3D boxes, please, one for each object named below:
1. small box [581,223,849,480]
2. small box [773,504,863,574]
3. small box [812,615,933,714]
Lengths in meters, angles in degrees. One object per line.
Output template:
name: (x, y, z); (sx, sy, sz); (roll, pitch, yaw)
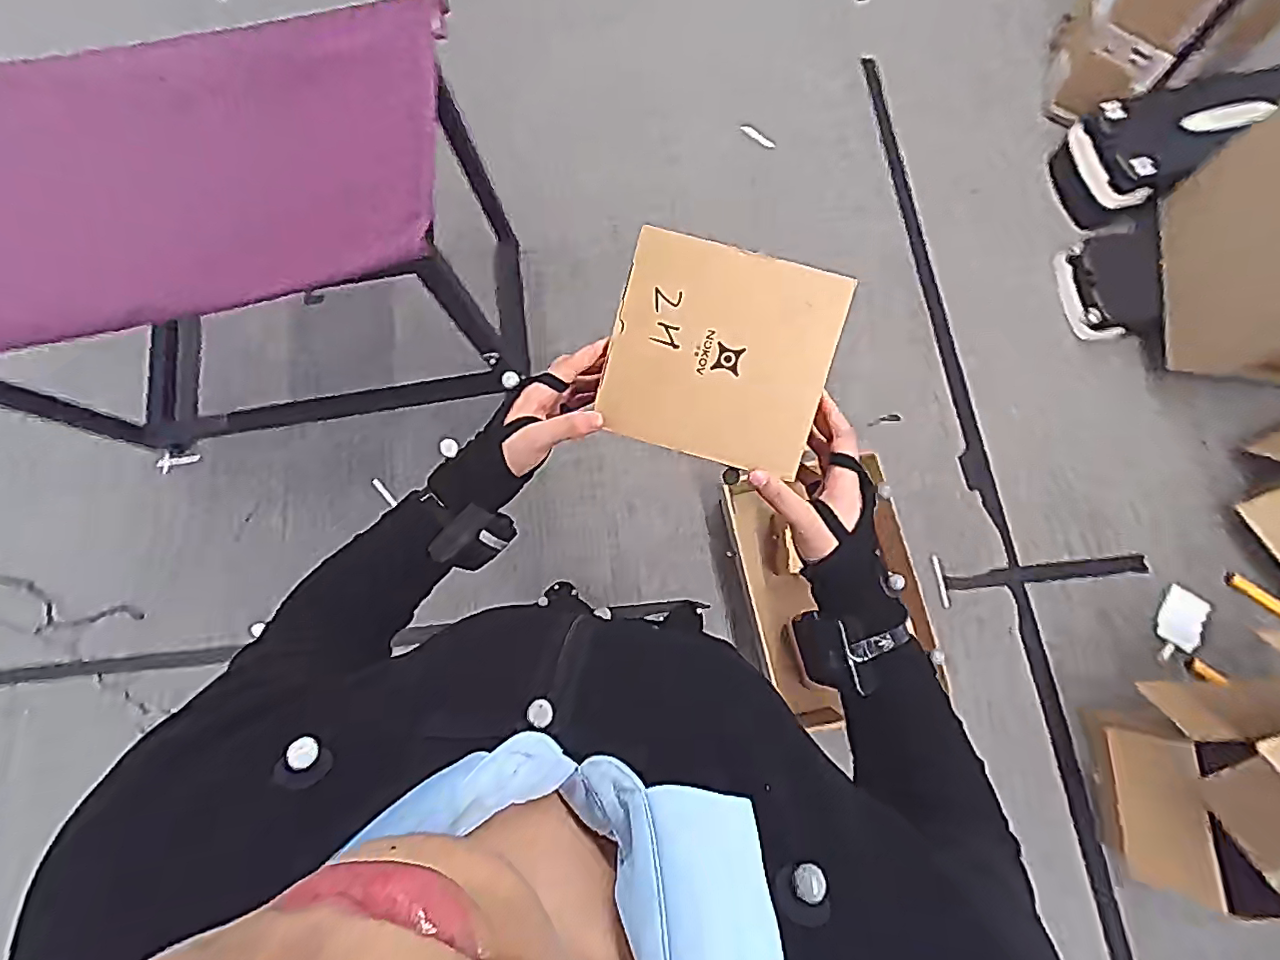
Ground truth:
small box: (0.063, -0.108, 0.504); (0.179, 0.176, 0.168); (16, 96, 4)
small box: (0.446, 0.153, 1.375); (0.179, 0.176, 0.168); (-1, 79, 3)
small box: (0.479, 0.386, 1.151); (0.179, 0.176, 0.168); (-11, 77, 0)
